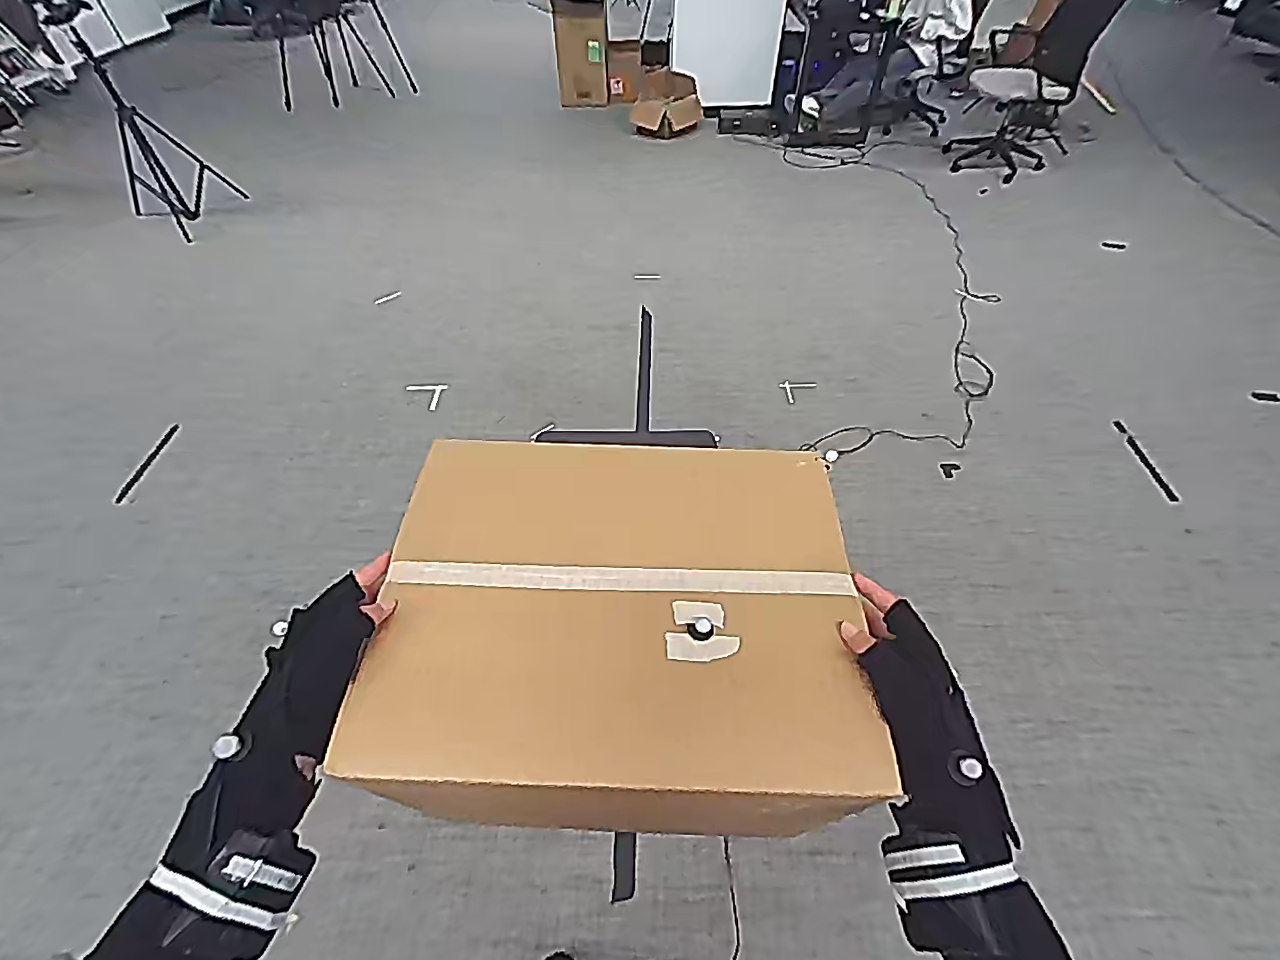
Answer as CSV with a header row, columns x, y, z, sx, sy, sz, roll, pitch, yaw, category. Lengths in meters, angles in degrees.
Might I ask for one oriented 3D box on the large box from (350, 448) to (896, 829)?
x,y,z,sx,sy,sz,roll,pitch,yaw,category
-0.014,0.184,0.594,0.408,0.320,0.320,2,53,0,large box
